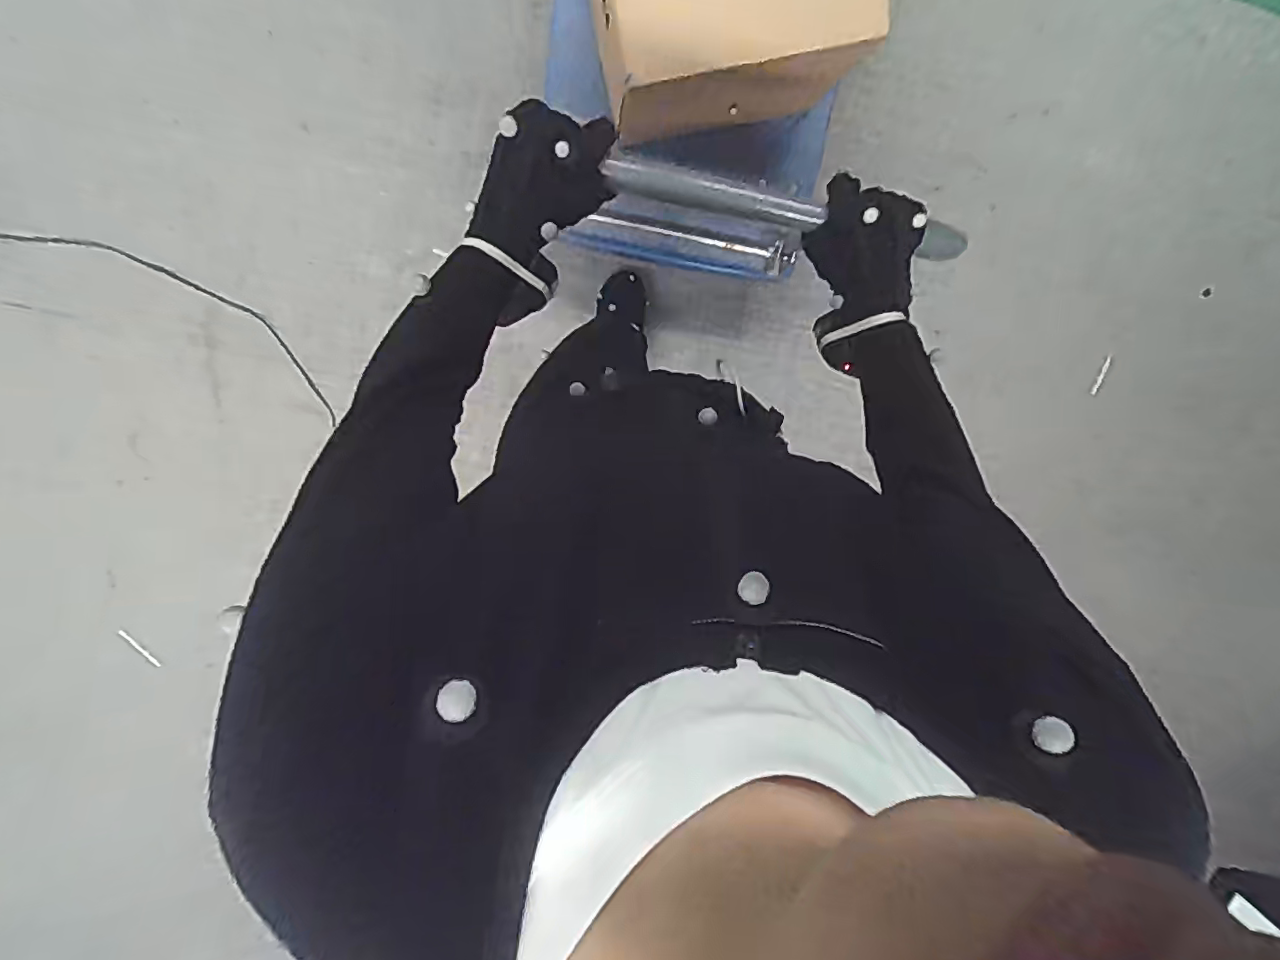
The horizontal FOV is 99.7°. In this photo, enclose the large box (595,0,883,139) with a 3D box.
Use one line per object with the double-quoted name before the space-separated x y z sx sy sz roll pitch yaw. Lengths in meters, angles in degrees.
"large box" 0.135 -0.828 0.912 0.408 0.320 0.320 -12 107 0
